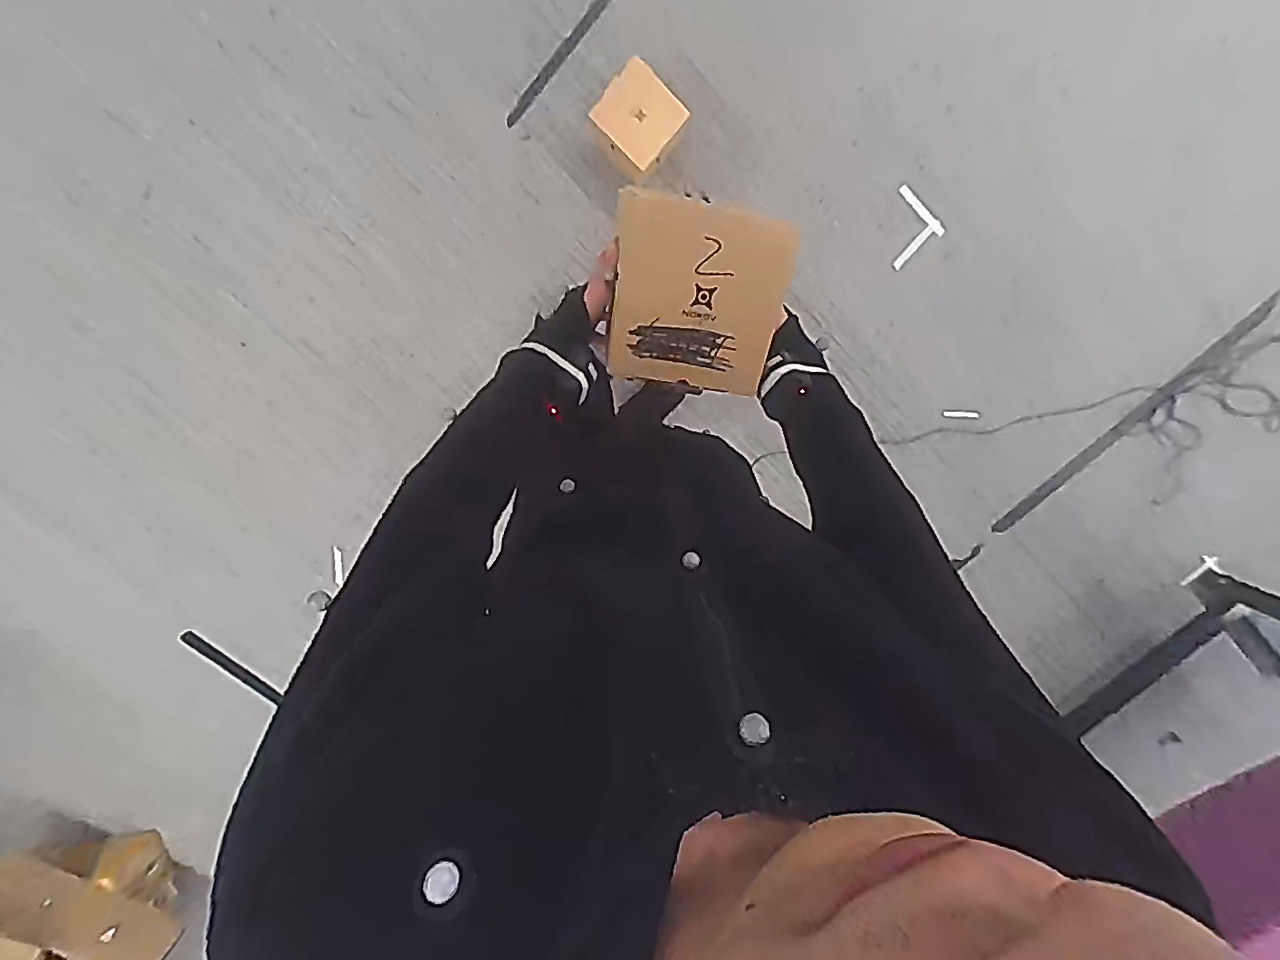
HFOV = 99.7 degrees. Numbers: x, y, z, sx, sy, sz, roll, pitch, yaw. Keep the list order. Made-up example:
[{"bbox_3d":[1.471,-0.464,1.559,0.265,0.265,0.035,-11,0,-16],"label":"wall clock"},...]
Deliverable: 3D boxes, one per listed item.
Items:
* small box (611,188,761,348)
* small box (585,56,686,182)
[{"bbox_3d":[0.050,-0.297,0.748,0.168,0.176,0.179,4,120,-7],"label":"small box"},{"bbox_3d":[-0.011,-0.856,1.310,0.179,0.176,0.168,41,101,-11],"label":"small box"}]
